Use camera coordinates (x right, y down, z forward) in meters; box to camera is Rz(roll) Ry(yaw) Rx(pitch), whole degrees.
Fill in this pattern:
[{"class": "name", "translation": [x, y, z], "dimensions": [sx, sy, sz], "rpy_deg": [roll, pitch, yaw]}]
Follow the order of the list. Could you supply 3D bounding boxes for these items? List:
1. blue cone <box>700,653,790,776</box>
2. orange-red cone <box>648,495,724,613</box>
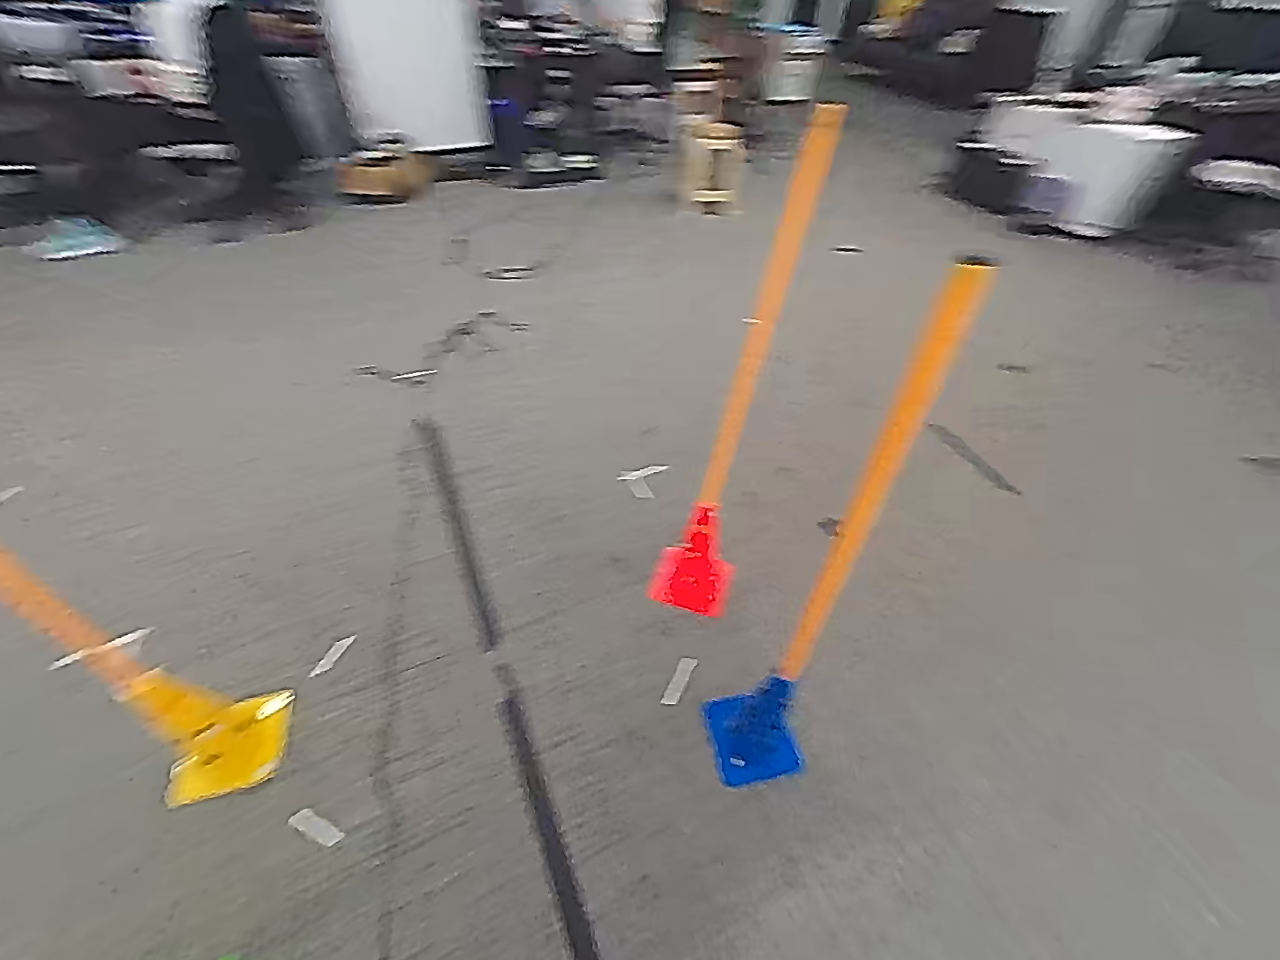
[{"class": "blue cone", "translation": [0.263, 0.496, 1.199], "dimensions": [0.193, 0.380, 0.192], "rpy_deg": [-6, 46, -10]}, {"class": "orange-red cone", "translation": [0.145, 0.173, 1.479], "dimensions": [0.198, 0.360, 0.199], "rpy_deg": [16, 49, 12]}]
